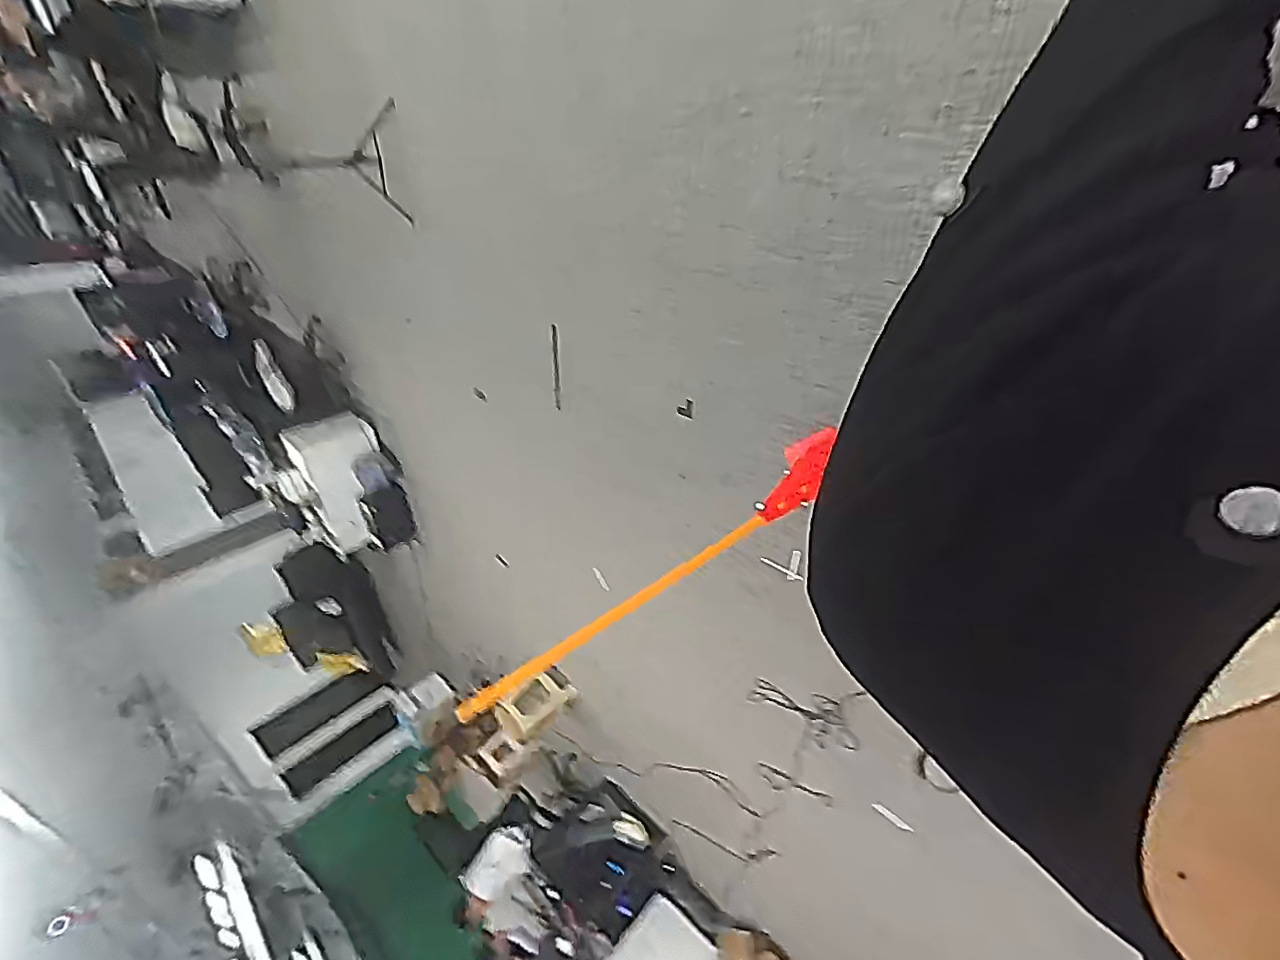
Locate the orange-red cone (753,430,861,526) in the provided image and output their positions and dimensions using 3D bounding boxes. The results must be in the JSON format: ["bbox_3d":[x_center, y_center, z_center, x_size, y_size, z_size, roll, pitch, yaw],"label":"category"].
[{"bbox_3d":[0.425,0.030,1.507,0.199,0.360,0.198,-30,92,51],"label":"orange-red cone"}]
